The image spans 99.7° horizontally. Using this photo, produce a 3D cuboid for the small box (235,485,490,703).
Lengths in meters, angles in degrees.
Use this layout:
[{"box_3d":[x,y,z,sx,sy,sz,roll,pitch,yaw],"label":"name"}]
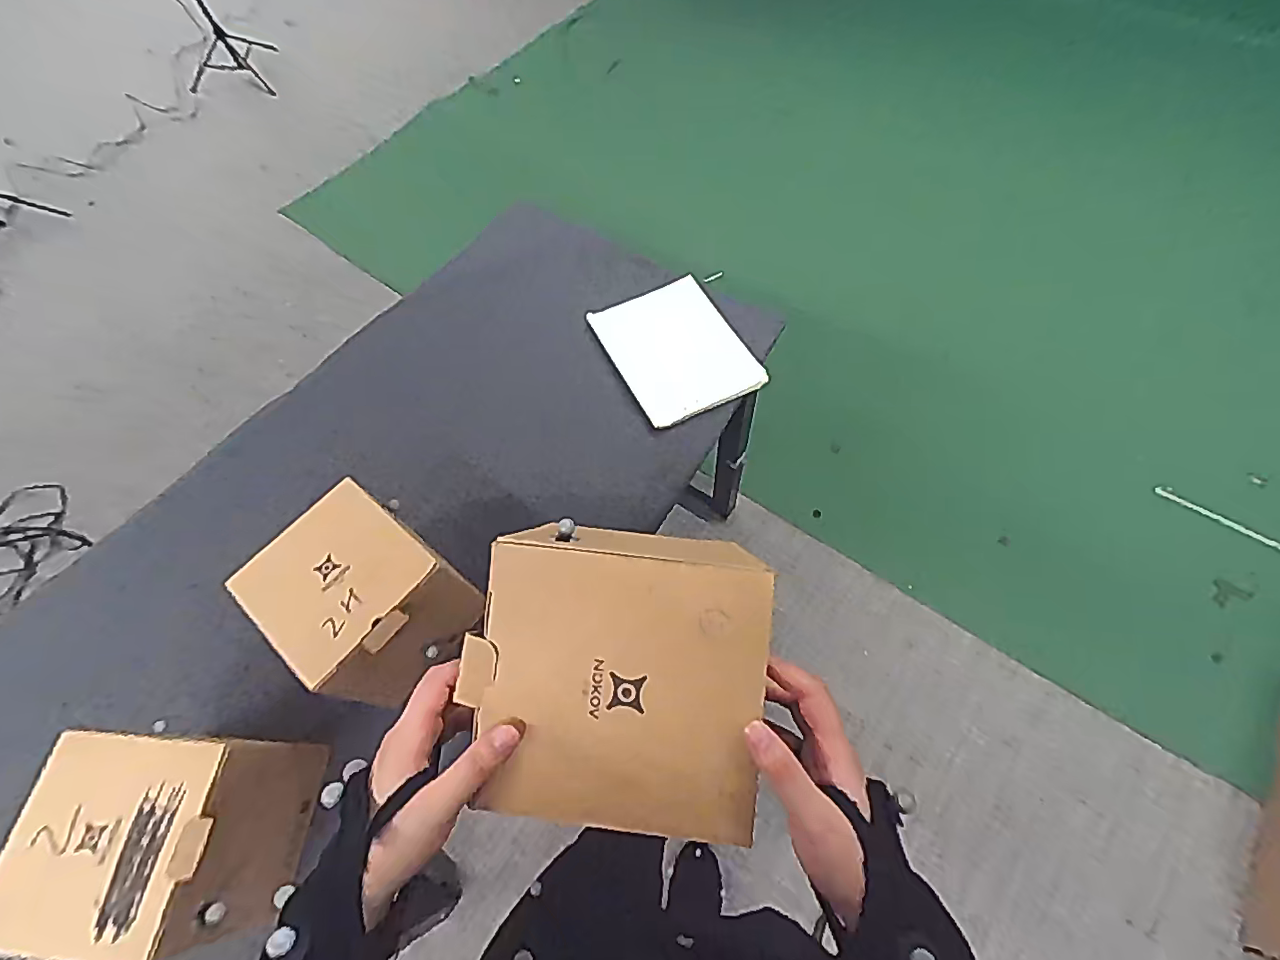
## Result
[{"box_3d":[-0.314,0.144,0.645,0.179,0.176,0.168,34,71,21],"label":"small box"}]
